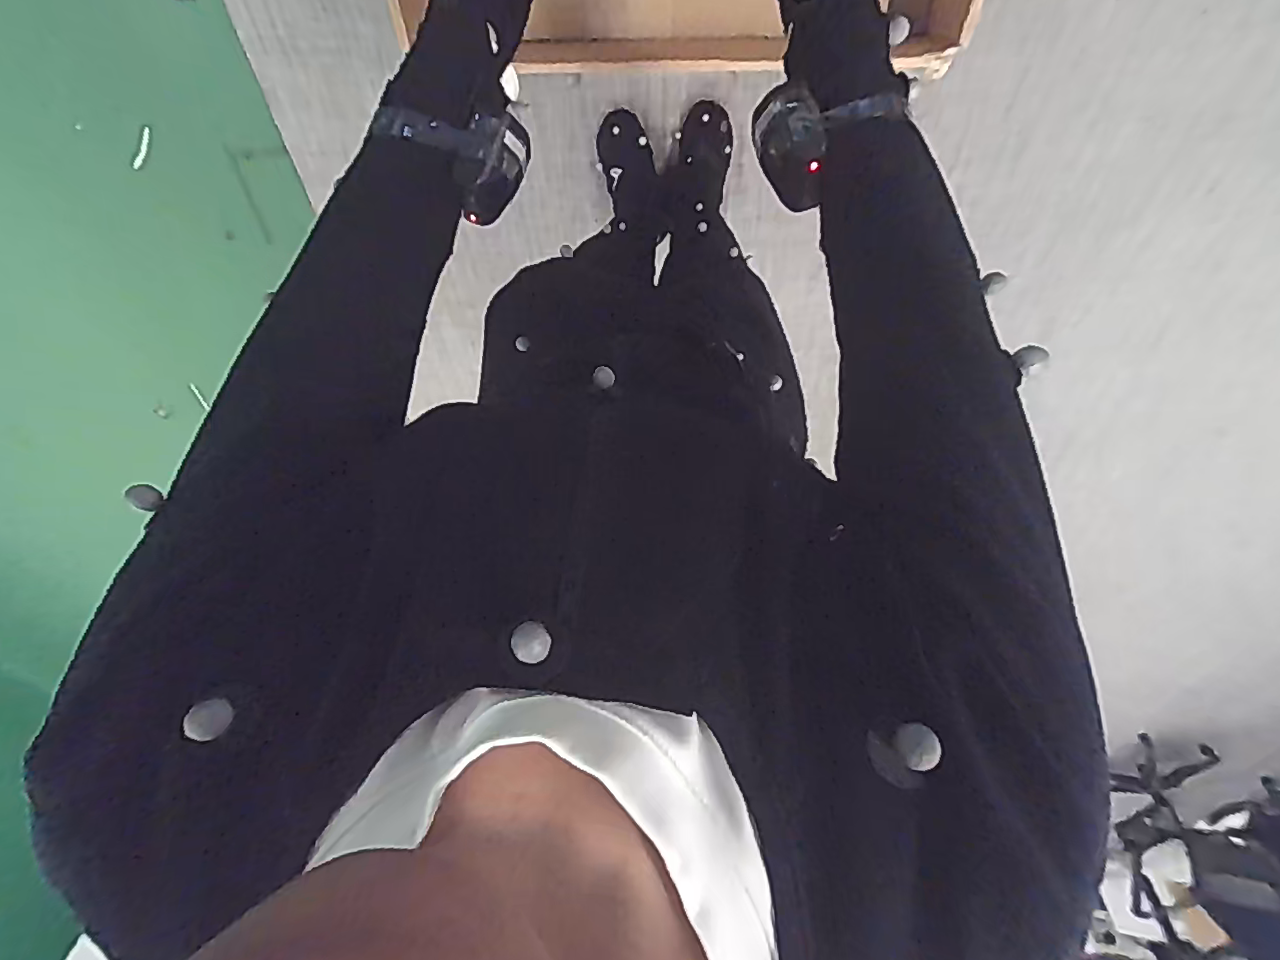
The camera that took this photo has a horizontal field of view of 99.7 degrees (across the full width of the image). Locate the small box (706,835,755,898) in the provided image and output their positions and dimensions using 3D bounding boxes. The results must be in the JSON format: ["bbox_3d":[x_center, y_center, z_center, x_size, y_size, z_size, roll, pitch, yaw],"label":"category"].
[{"bbox_3d":[0.344,1.473,2.062,0.179,0.176,0.168,-2,133,10],"label":"small box"}]
